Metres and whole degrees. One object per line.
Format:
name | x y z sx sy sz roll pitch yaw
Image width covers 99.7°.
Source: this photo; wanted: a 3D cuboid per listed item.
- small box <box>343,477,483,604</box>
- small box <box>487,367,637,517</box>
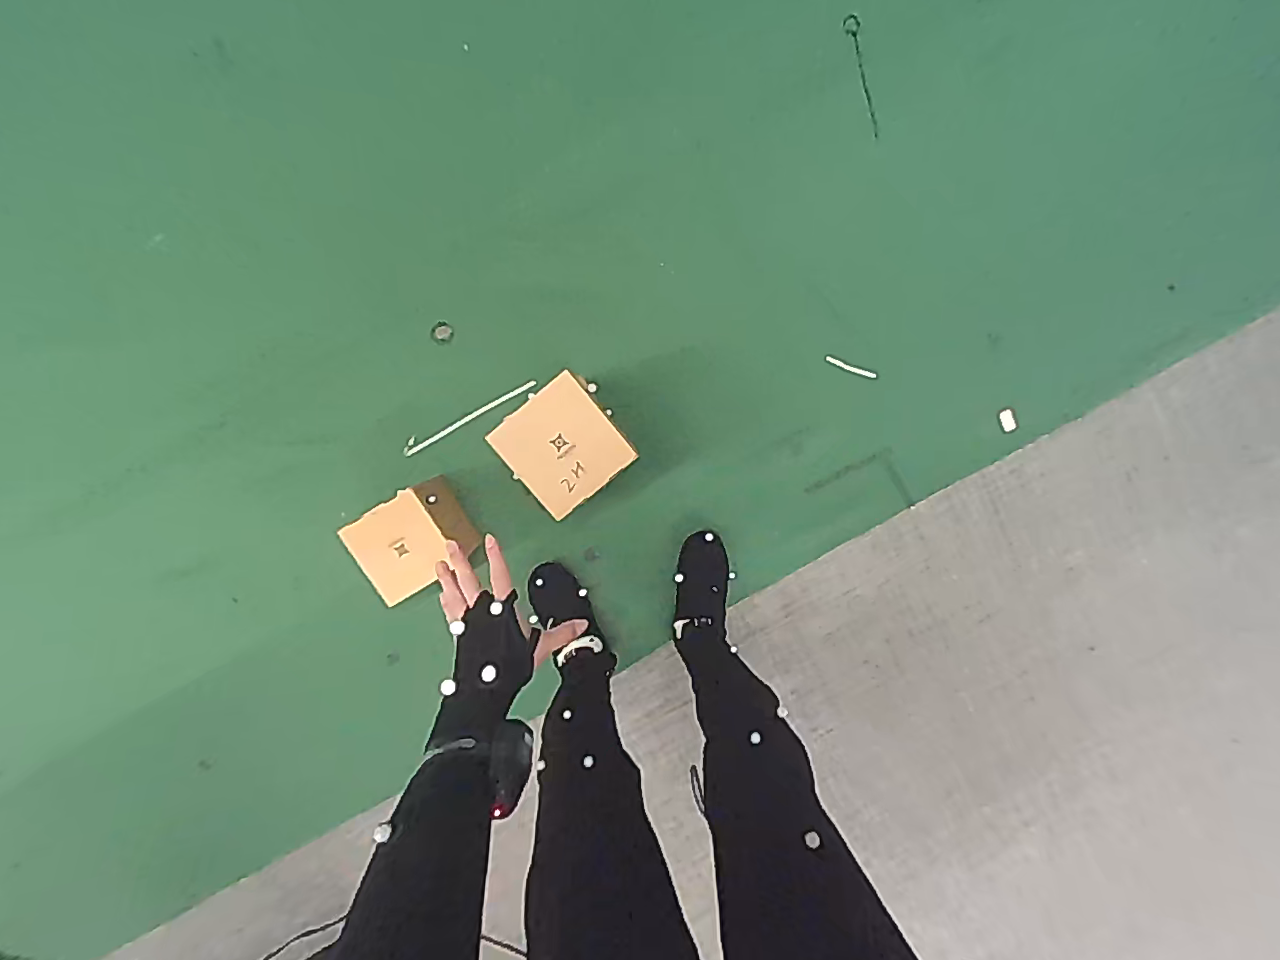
small box | -0.445 0.113 1.094 0.168 0.176 0.179 -31 97 3
small box | -0.123 -0.066 0.910 0.168 0.176 0.179 -39 98 5
